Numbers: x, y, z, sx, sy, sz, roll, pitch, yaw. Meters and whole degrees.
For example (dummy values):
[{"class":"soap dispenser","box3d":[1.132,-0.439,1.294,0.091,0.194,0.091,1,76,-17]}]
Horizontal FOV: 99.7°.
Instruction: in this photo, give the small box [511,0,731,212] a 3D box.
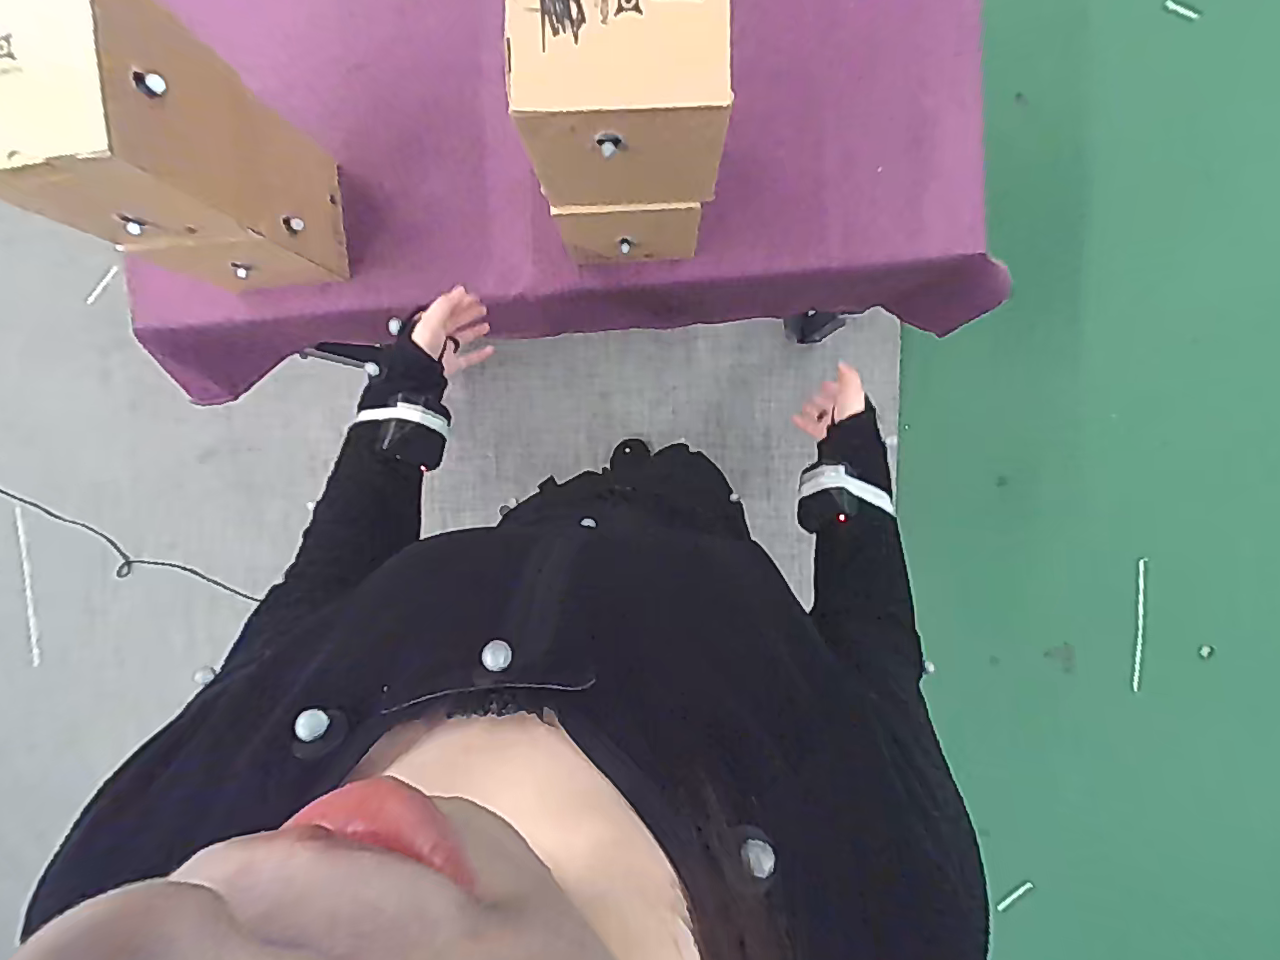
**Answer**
[{"class":"small box","box3d":[-0.013,-0.367,0.504,0.179,0.176,0.168,0,94,1]}]

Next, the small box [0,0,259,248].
[{"class":"small box","box3d":[-0.510,-0.346,0.520,0.168,0.176,0.179,-4,94,2]}]

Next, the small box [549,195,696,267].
[{"class":"small box","box3d":[-0.016,-0.374,0.668,0.168,0.176,0.179,-1,93,1]}]
